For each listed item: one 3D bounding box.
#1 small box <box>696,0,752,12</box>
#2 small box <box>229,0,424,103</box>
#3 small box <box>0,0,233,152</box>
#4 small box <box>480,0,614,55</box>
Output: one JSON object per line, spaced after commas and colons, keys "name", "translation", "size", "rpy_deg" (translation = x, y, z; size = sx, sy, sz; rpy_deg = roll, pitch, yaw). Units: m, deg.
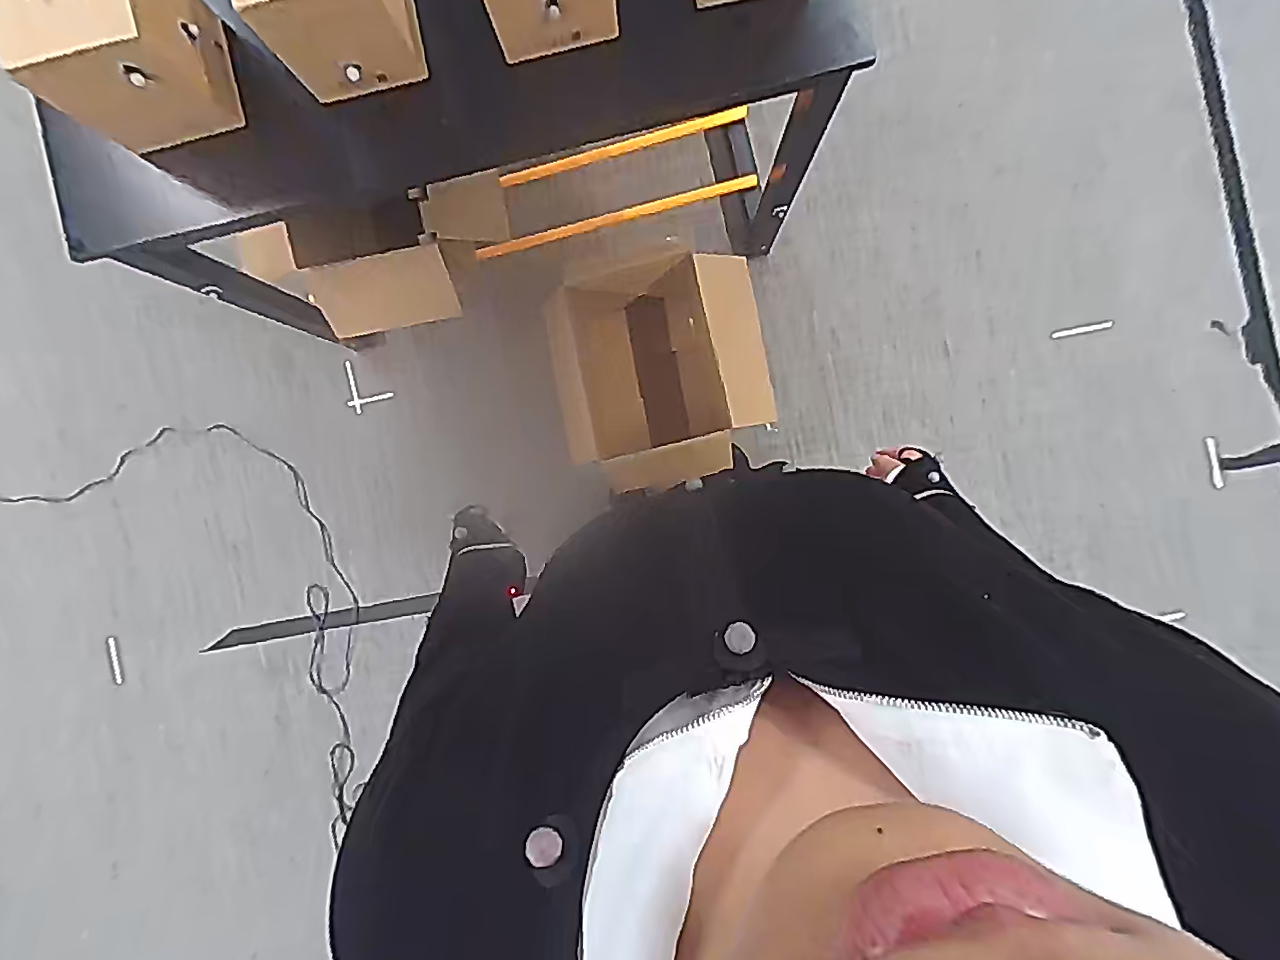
{"name": "small box", "translation": [0.136, -0.755, 0.677], "size": [0.168, 0.176, 0.179], "rpy_deg": [-12, 91, 4]}
{"name": "small box", "translation": [-0.406, -0.644, 0.702], "size": [0.168, 0.176, 0.179], "rpy_deg": [-11, 91, 3]}
{"name": "small box", "translation": [-0.682, -0.575, 0.713], "size": [0.179, 0.176, 0.168], "rpy_deg": [-13, 90, 2]}
{"name": "small box", "translation": [-0.134, -0.692, 0.690], "size": [0.168, 0.176, 0.179], "rpy_deg": [-12, 91, 3]}
